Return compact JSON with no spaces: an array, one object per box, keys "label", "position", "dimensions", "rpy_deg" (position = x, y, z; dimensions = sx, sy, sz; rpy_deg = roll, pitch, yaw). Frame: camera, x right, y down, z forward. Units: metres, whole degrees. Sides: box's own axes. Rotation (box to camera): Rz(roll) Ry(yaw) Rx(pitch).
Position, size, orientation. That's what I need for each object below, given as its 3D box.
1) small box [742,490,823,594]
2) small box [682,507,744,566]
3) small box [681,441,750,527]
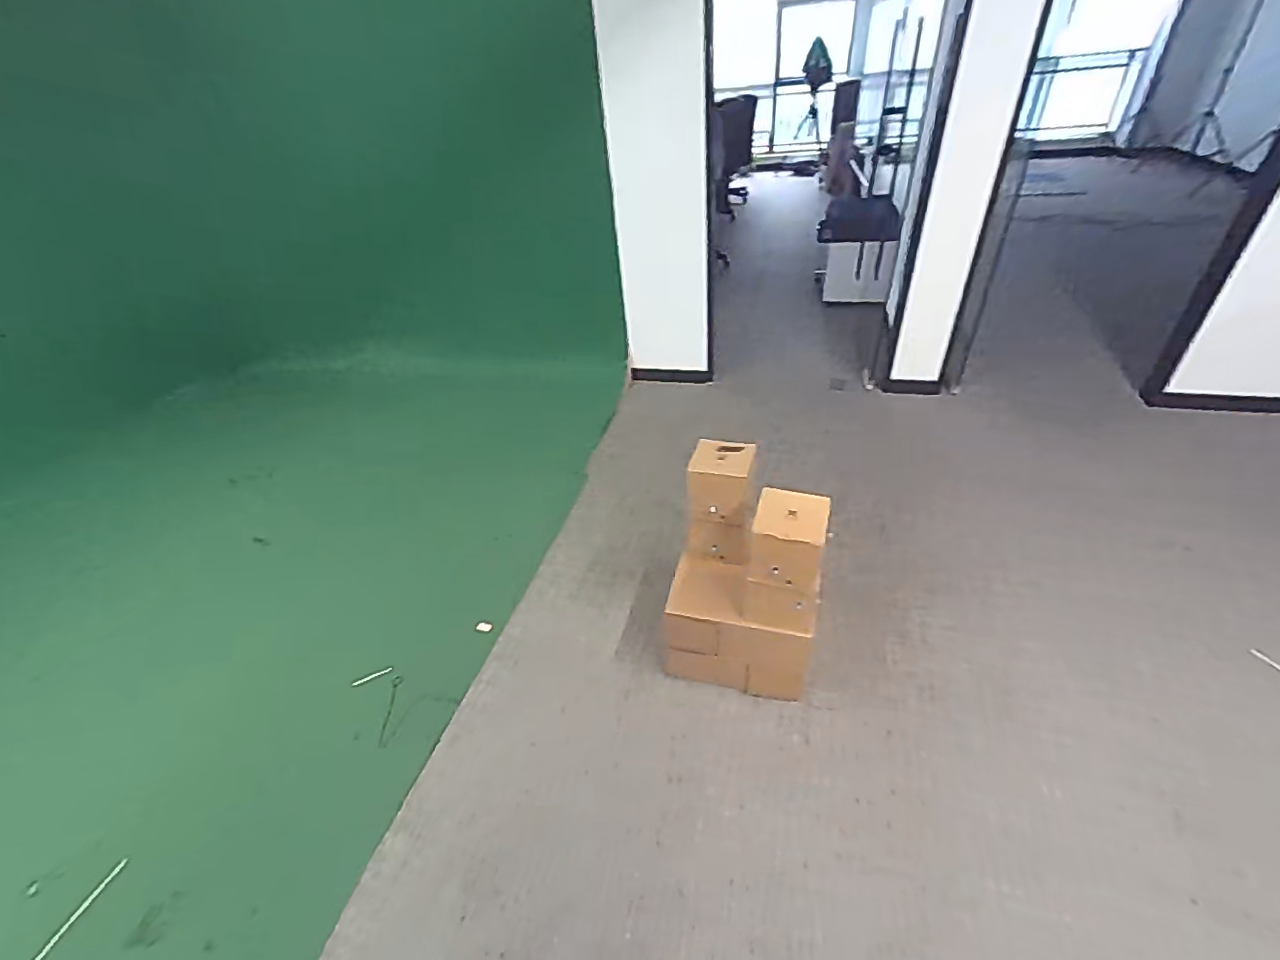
[{"label":"small box","position":[0.353,0.152,1.348],"dimensions":[0.168,0.176,0.179],"rpy_deg":[9,39,17]},{"label":"small box","position":[0.226,0.136,1.666],"dimensions":[0.168,0.176,0.179],"rpy_deg":[6,35,15]},{"label":"small box","position":[0.218,0.010,1.560],"dimensions":[0.168,0.176,0.179],"rpy_deg":[7,36,17]}]
